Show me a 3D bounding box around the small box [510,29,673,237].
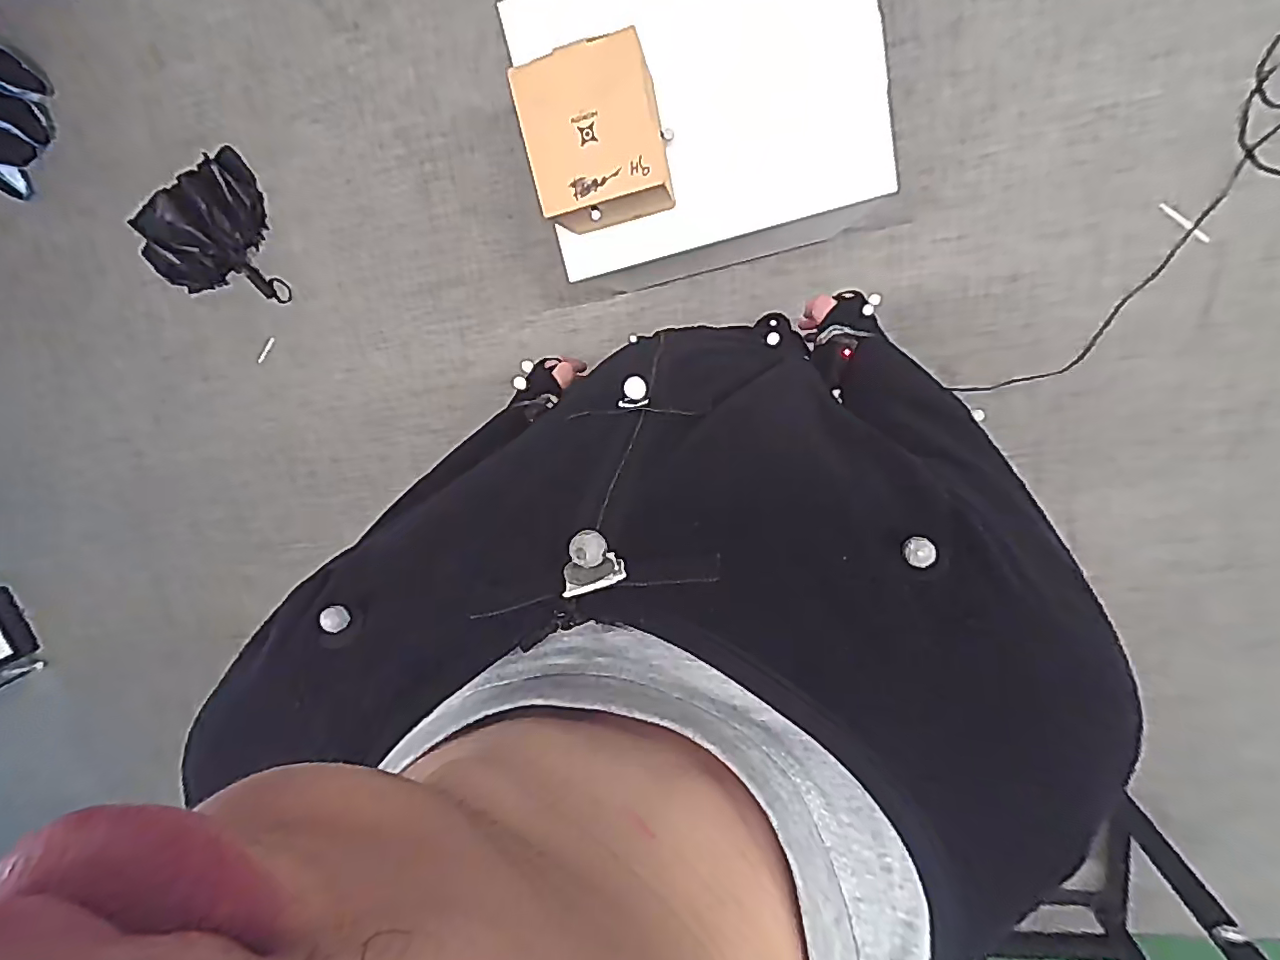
[{"bbox_3d":[-0.055,-0.458,0.747,0.168,0.176,0.179,-11,104,12],"label":"small box"}]
